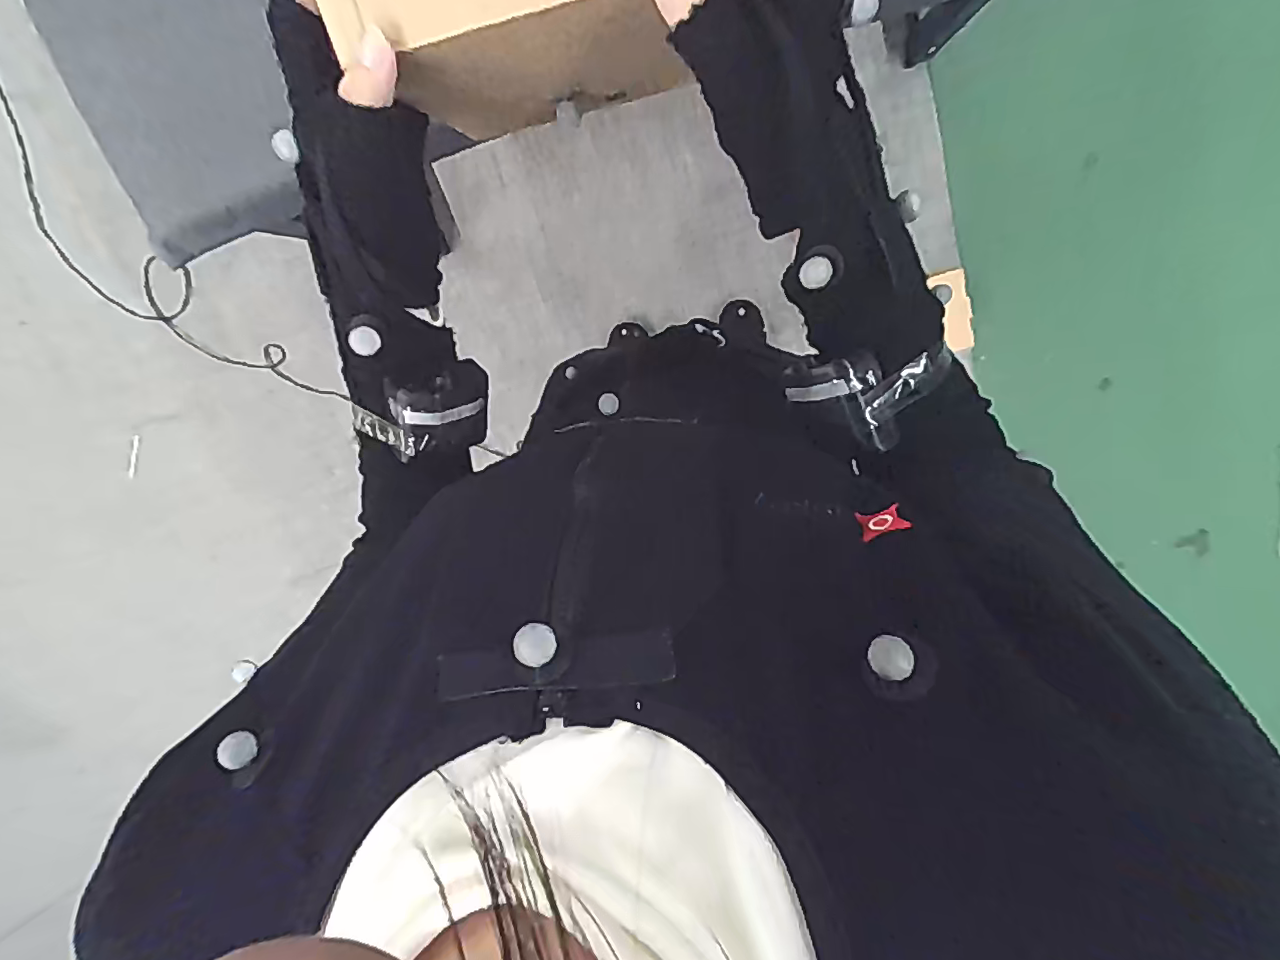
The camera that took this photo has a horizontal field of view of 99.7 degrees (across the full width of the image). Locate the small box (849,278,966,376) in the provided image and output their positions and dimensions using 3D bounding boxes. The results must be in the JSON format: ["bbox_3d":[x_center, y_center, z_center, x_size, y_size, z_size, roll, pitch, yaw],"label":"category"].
[{"bbox_3d":[0.594,-0.345,1.217,0.179,0.176,0.168,-15,105,10],"label":"small box"}]

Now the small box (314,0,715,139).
[{"bbox_3d":[-0.058,-0.295,0.262,0.168,0.176,0.179,-8,112,8],"label":"small box"}]
